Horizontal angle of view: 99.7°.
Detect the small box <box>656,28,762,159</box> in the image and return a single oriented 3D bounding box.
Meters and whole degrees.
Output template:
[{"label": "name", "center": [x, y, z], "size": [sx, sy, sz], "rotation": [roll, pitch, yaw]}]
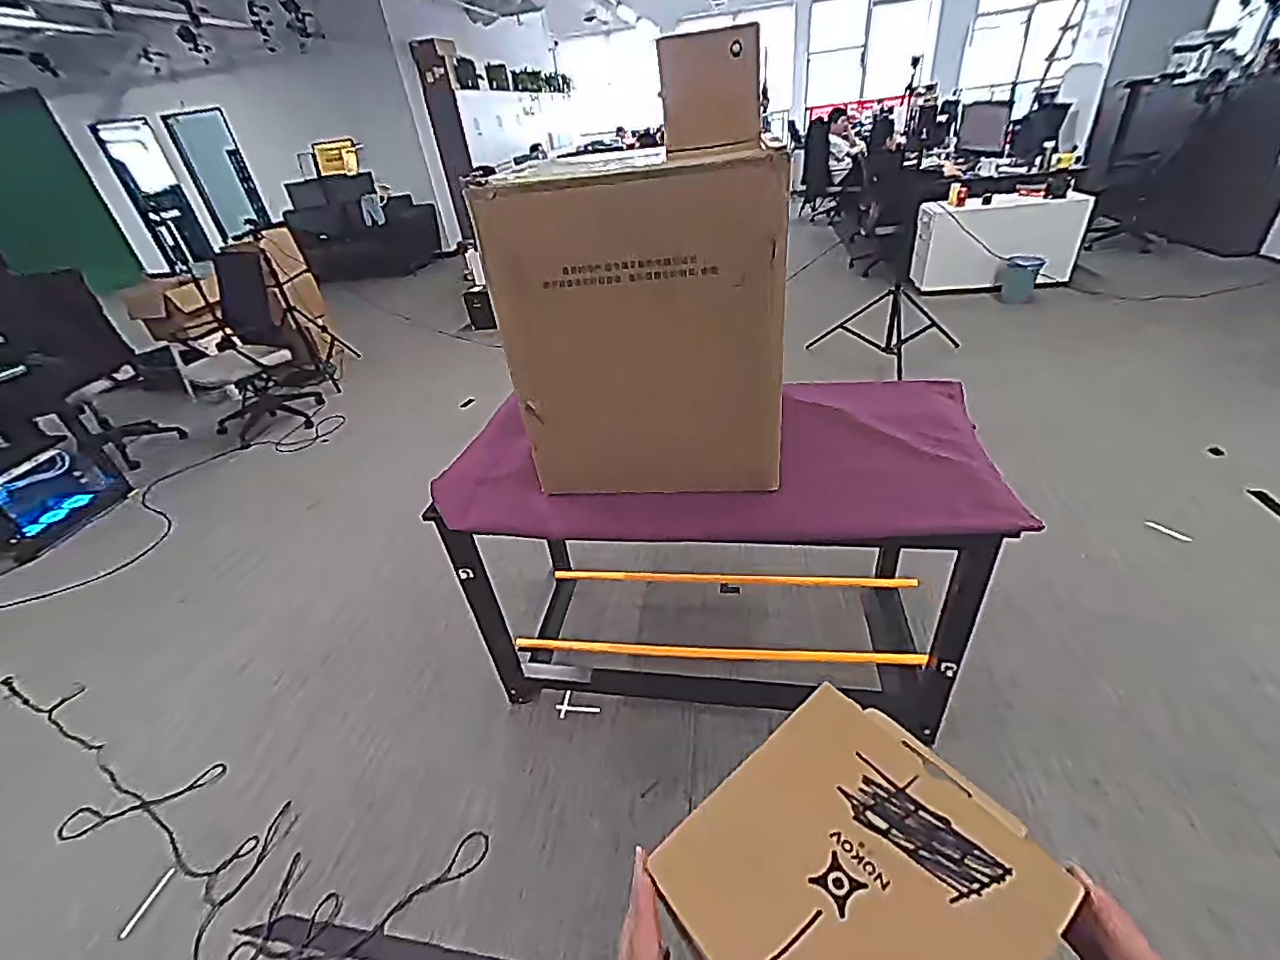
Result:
[{"label": "small box", "center": [0.132, -0.700, 0.995], "size": [0.179, 0.176, 0.168], "rotation": [-1, 34, 10]}]
